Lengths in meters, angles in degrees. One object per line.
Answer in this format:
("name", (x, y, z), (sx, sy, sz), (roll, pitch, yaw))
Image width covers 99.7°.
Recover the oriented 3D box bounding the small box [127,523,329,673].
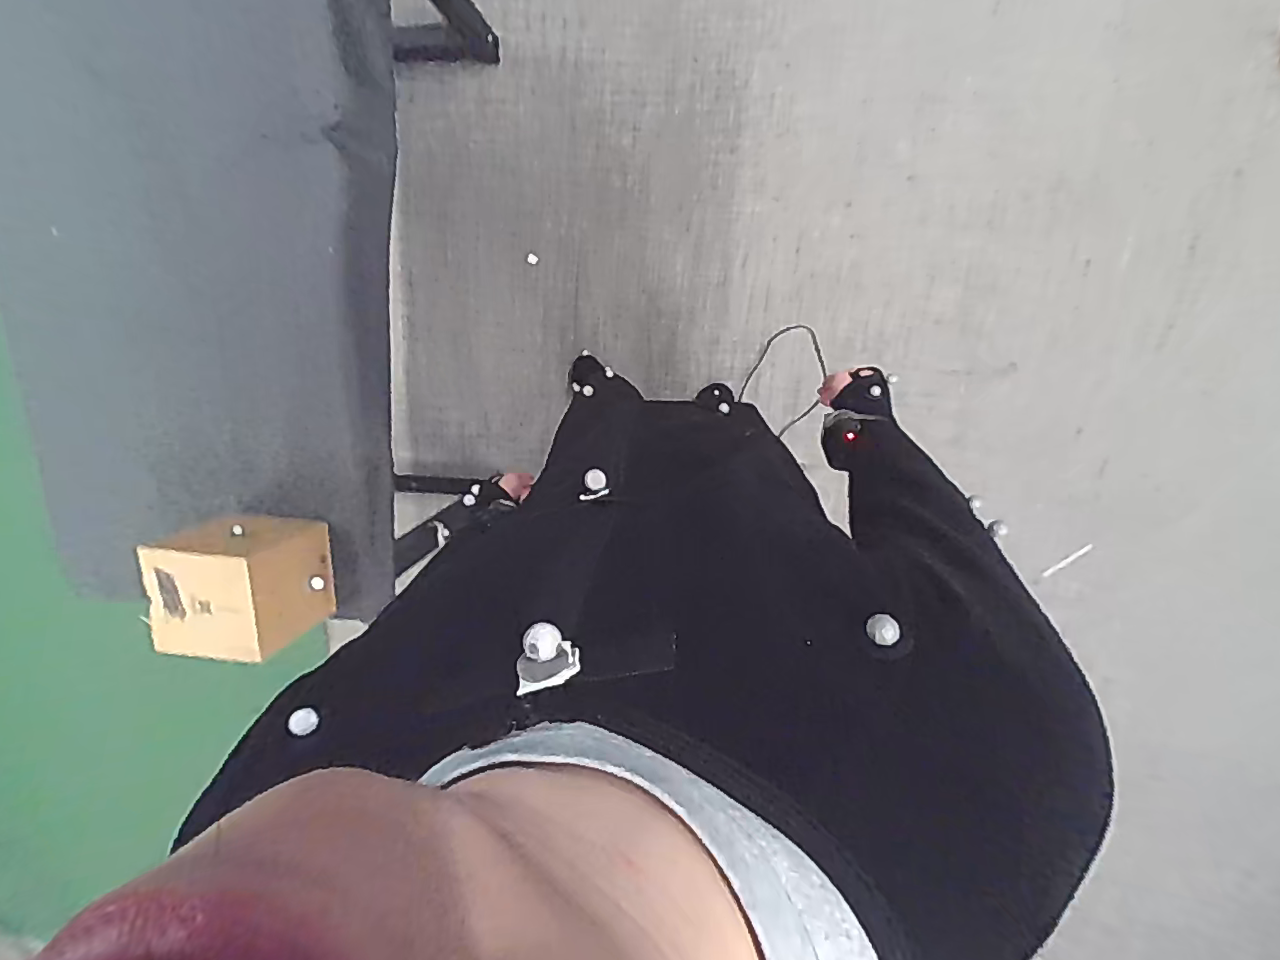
("small box", (-0.620, 0.170, 0.834), (0.179, 0.176, 0.168), (4, 104, 6))
